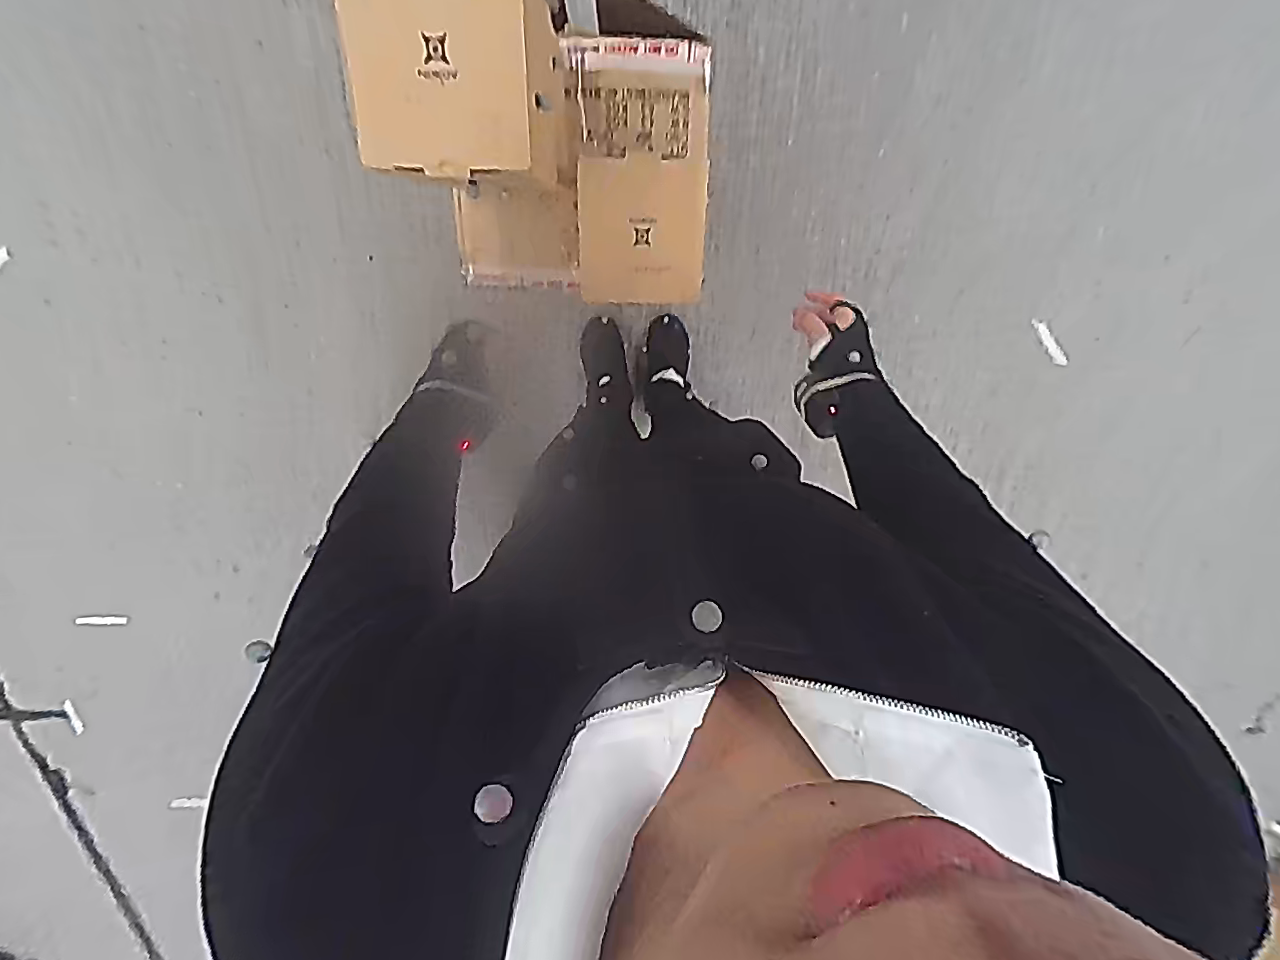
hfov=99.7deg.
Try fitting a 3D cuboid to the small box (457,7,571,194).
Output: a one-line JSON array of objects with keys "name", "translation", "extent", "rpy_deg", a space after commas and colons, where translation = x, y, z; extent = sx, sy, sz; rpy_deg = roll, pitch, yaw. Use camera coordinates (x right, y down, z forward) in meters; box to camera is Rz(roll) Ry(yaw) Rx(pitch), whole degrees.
[{"name": "small box", "translation": [-0.185, -0.485, 0.714], "extent": [0.168, 0.176, 0.179], "rpy_deg": [0, 114, 1]}]

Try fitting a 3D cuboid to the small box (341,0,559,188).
[{"name": "small box", "translation": [-0.180, -0.410, 0.566], "extent": [0.168, 0.176, 0.179], "rpy_deg": [1, 115, 0]}]

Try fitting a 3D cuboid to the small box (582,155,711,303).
[{"name": "small box", "translation": [0.006, -0.355, 0.778], "extent": [0.168, 0.176, 0.179], "rpy_deg": [0, 115, 0]}]
